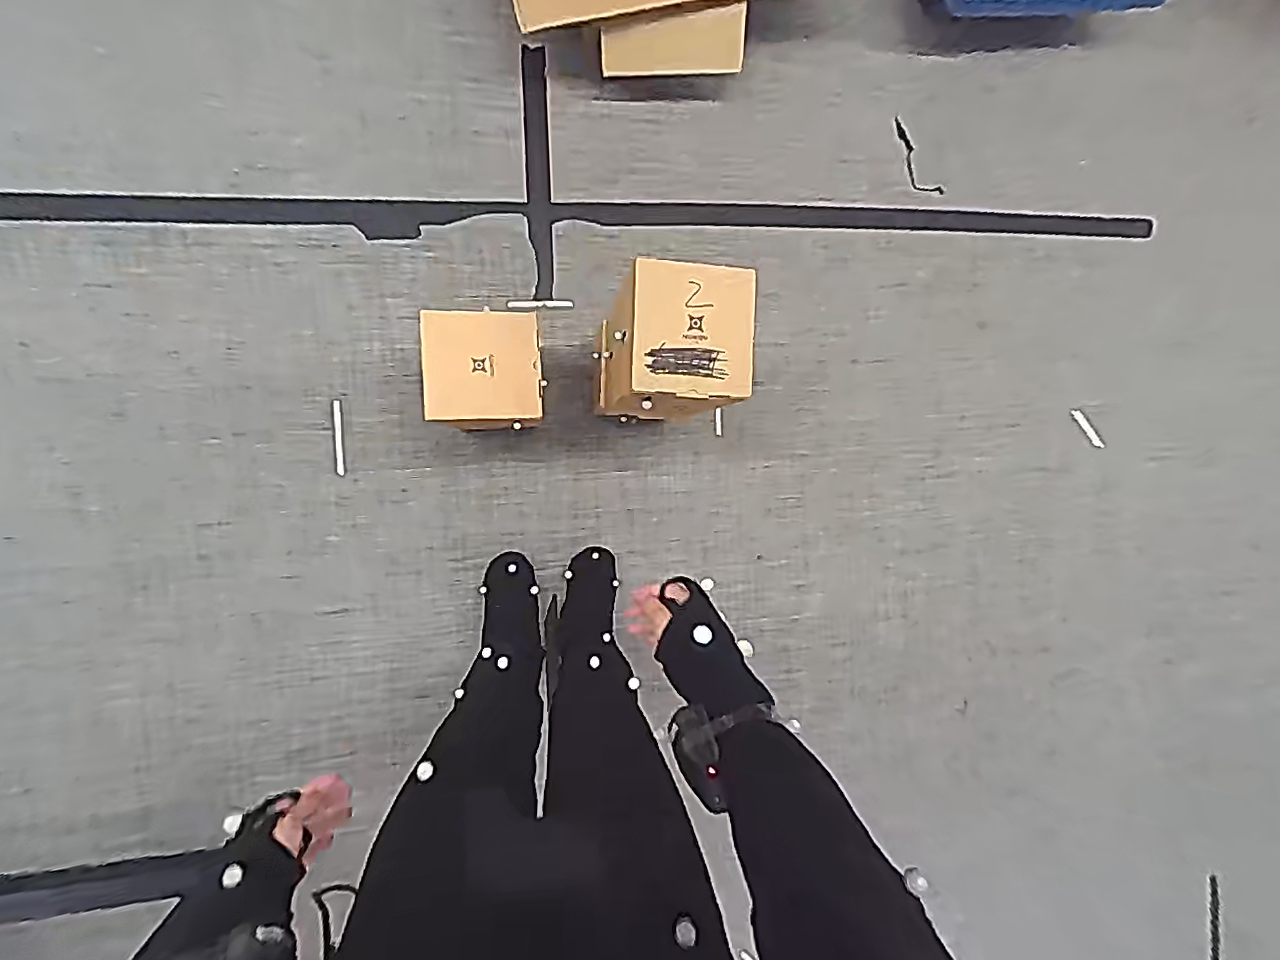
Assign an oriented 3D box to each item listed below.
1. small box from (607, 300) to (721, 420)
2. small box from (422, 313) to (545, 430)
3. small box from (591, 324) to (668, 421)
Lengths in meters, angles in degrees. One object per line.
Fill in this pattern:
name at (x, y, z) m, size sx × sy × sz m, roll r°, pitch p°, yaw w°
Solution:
small box at (0.035, -0.199, 0.946) m, size 0.168 × 0.176 × 0.179 m, roll 1°, pitch 91°, yaw -11°
small box at (-0.250, -0.171, 0.895) m, size 0.179 × 0.176 × 0.168 m, roll -3°, pitch 93°, yaw -12°
small box at (0.001, -0.212, 1.107) m, size 0.179 × 0.176 × 0.168 m, roll 2°, pitch 92°, yaw -12°
